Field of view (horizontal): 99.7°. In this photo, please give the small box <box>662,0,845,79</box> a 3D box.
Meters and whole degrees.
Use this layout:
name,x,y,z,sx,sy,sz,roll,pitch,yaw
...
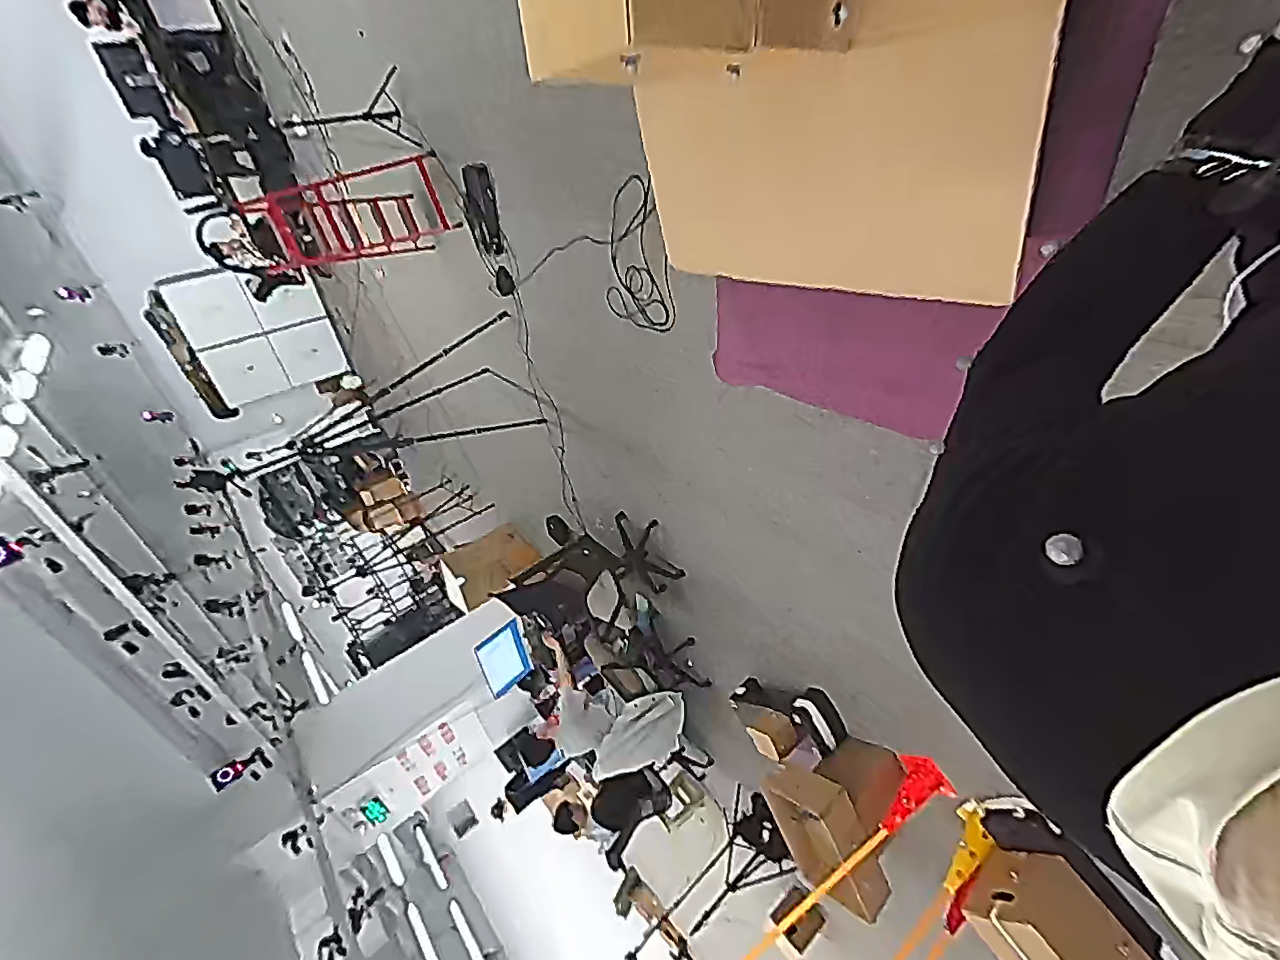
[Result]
name,x,y,z,sx,sy,sz,roll,pitch,yaw
small box,0.121,-0.569,0.611,0.179,0.176,0.168,28,134,44

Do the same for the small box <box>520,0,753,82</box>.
name,x,y,z,sx,sy,sz,roll,pitch,yaw
small box,-0.007,-0.507,0.532,0.179,0.176,0.168,26,132,43
